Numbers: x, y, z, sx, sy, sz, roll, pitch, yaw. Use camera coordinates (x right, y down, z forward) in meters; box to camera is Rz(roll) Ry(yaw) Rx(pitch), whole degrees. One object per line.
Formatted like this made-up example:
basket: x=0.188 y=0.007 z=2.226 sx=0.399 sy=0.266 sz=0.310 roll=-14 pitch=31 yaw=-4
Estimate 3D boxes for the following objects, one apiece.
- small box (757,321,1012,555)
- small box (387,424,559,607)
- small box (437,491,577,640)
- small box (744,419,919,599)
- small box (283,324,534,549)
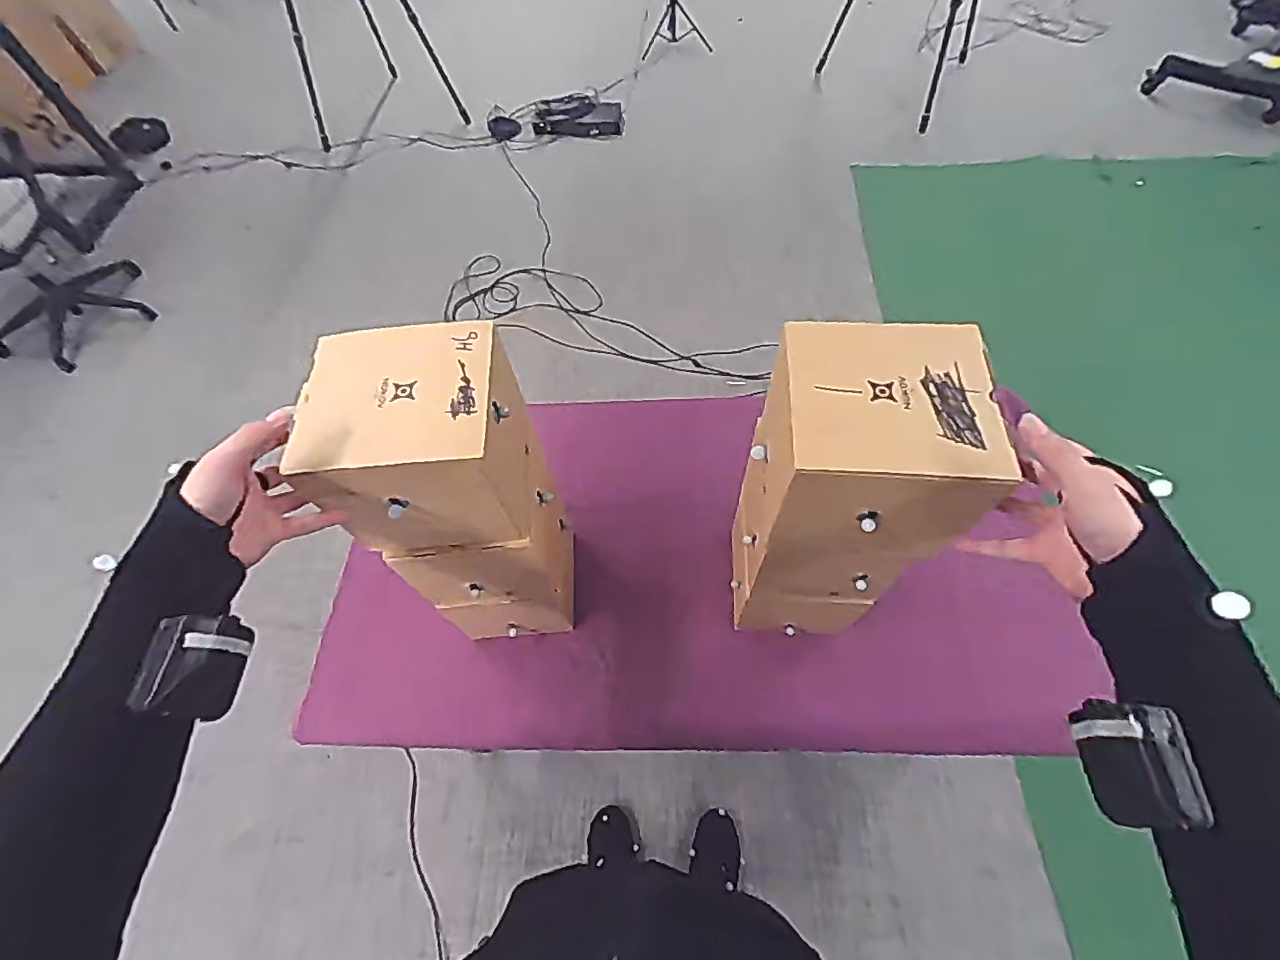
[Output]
small box: x=0.214 y=-0.033 z=0.532 sx=0.179 sy=0.176 sz=0.168 roll=2 pitch=60 yaw=6
small box: x=-0.203 y=0.050 z=0.708 sx=0.168 sy=0.176 sz=0.179 roll=-7 pitch=59 yaw=0
small box: x=-0.195 y=0.137 z=0.845 sx=0.168 sy=0.176 sz=0.179 roll=-5 pitch=59 yaw=2
small box: x=0.223 y=0.042 z=0.678 sx=0.168 sy=0.176 sz=0.179 roll=1 pitch=59 yaw=5
small box: x=-0.220 y=-0.037 z=0.570 sx=0.179 sy=0.176 sz=0.168 roll=-6 pitch=59 yaw=2
